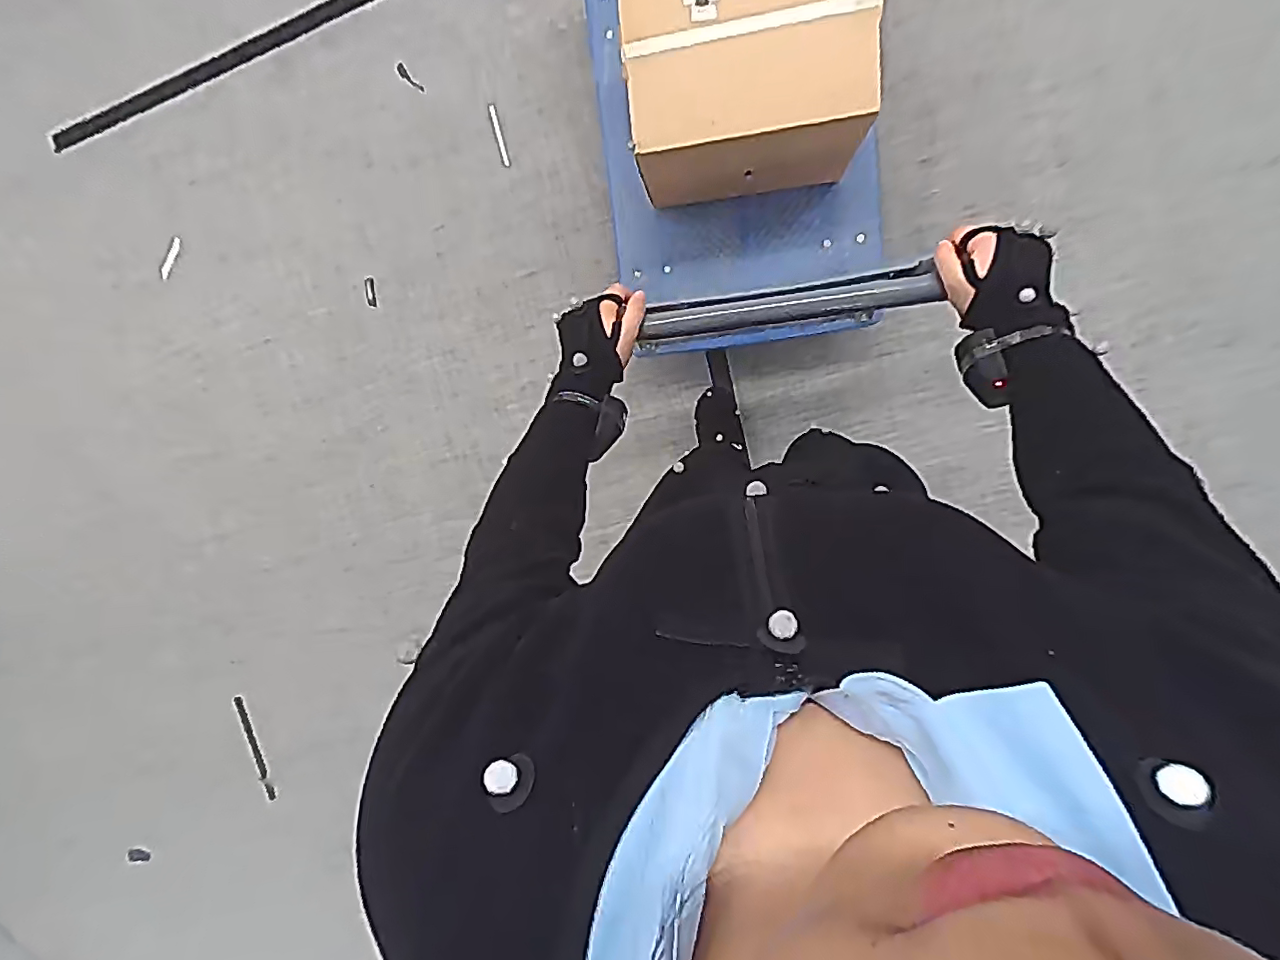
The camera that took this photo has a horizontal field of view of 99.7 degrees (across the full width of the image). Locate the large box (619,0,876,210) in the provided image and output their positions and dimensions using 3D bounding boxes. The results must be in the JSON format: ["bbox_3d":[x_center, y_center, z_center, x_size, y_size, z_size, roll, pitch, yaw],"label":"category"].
[{"bbox_3d":[0.196,-0.751,1.033,0.408,0.320,0.320,-5,98,10],"label":"large box"}]
